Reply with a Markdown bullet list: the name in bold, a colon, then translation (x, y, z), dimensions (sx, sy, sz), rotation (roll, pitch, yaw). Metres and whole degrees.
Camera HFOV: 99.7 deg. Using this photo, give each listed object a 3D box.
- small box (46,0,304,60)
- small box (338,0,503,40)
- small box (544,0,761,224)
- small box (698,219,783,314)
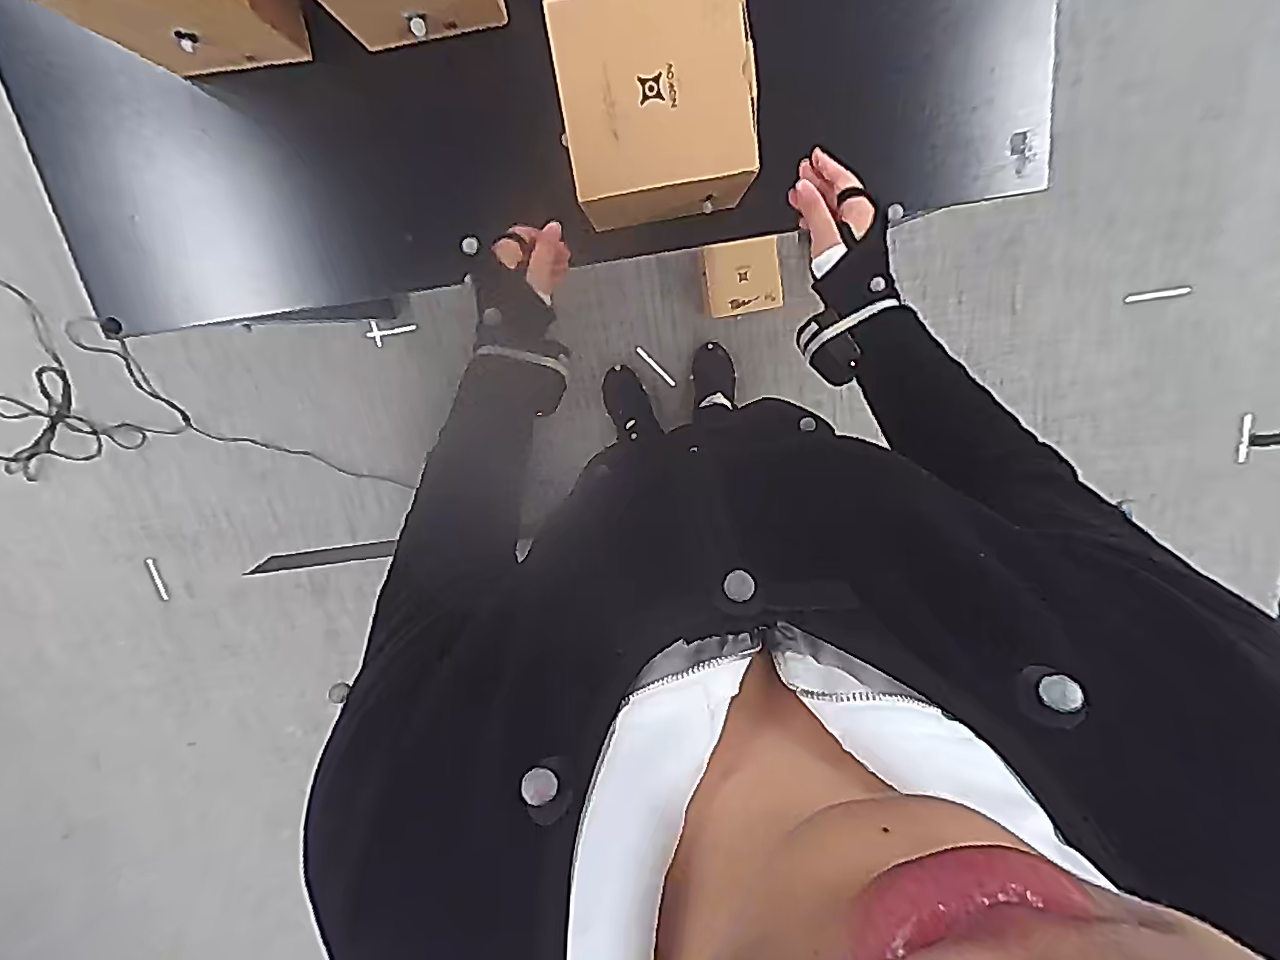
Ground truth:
- **small box**: translation (-0.466, -0.542, 0.523), dimensions (0.168, 0.176, 0.179), rotation (-5, 106, 2)
- **small box**: translation (-0.244, -0.568, 0.510), dimensions (0.168, 0.176, 0.179), rotation (-8, 107, 4)
- **small box**: translation (0.016, -0.382, 0.561), dimensions (0.179, 0.176, 0.168), rotation (-9, 104, 5)
- **small box**: translation (0.232, -0.497, 1.282), dimensions (0.168, 0.176, 0.179), rotation (-9, 106, 5)
